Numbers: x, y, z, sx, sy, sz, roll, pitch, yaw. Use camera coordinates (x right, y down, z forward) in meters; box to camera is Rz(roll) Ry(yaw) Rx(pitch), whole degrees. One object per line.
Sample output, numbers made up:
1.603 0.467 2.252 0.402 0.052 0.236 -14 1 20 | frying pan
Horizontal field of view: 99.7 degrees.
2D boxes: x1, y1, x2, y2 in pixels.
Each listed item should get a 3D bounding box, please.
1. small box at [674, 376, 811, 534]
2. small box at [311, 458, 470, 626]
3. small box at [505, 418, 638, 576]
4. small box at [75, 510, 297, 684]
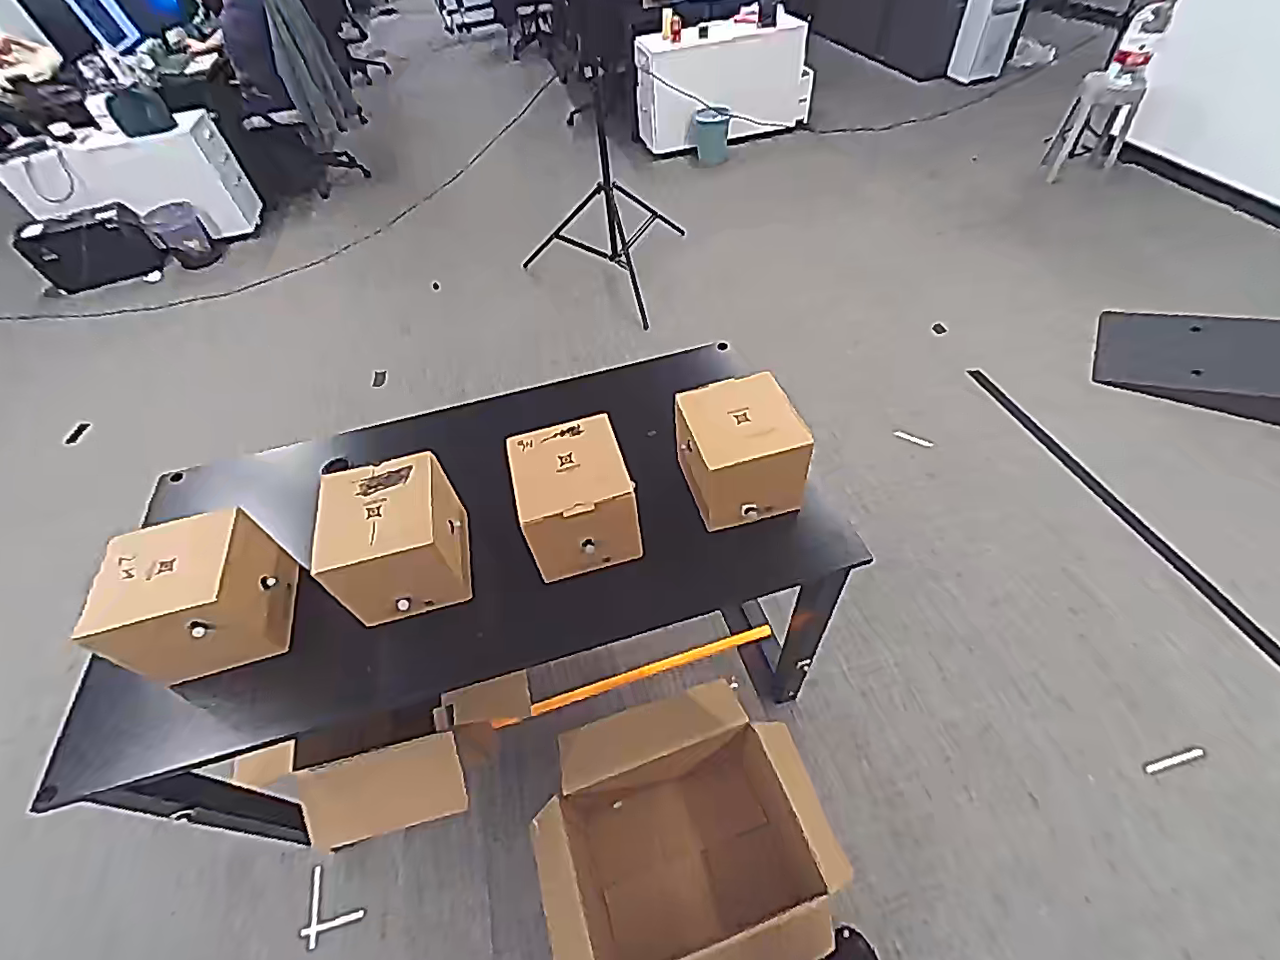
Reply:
0.160 -0.040 0.900 0.168 0.176 0.179 -15 51 -5 | small box
-0.373 0.097 0.839 0.168 0.176 0.179 -14 51 -6 | small box
-0.105 0.035 0.865 0.168 0.176 0.179 -15 51 -6 | small box
-0.644 0.175 0.800 0.179 0.176 0.168 -15 50 -7 | small box
